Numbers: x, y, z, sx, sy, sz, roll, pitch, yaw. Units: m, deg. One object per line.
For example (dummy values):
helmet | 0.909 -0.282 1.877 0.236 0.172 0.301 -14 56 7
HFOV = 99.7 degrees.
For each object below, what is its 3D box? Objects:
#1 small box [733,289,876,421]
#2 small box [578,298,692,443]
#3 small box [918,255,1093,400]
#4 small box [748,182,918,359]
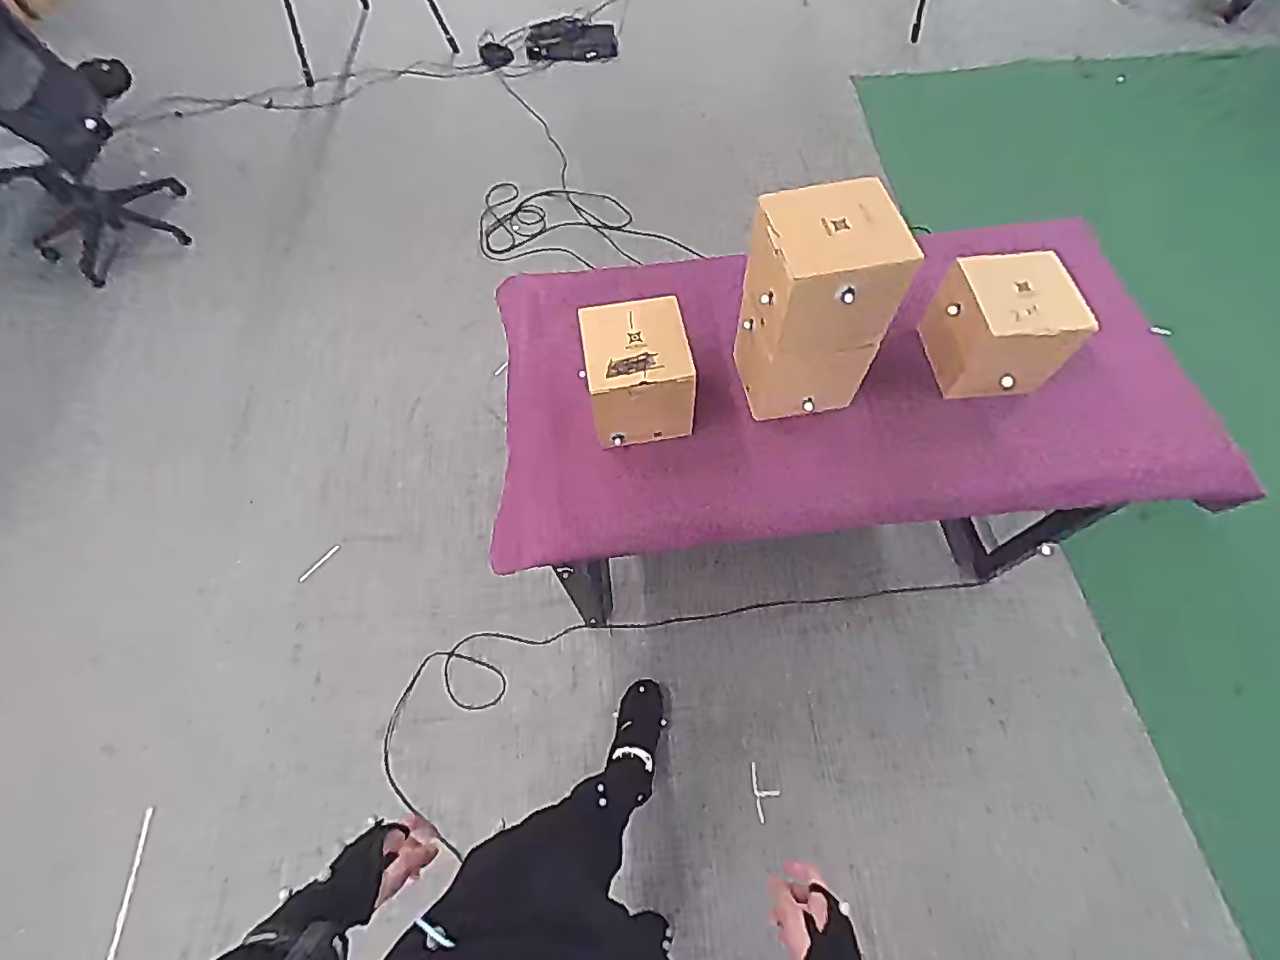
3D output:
small box | 0.271 -0.222 0.937 0.179 0.176 0.168 -9 62 -2
small box | -0.007 -0.177 0.924 0.168 0.176 0.179 -8 62 -3
small box | 0.615 -0.261 0.941 0.168 0.176 0.179 -4 62 1
small box | 0.263 -0.297 0.791 0.179 0.176 0.168 -9 64 -2
